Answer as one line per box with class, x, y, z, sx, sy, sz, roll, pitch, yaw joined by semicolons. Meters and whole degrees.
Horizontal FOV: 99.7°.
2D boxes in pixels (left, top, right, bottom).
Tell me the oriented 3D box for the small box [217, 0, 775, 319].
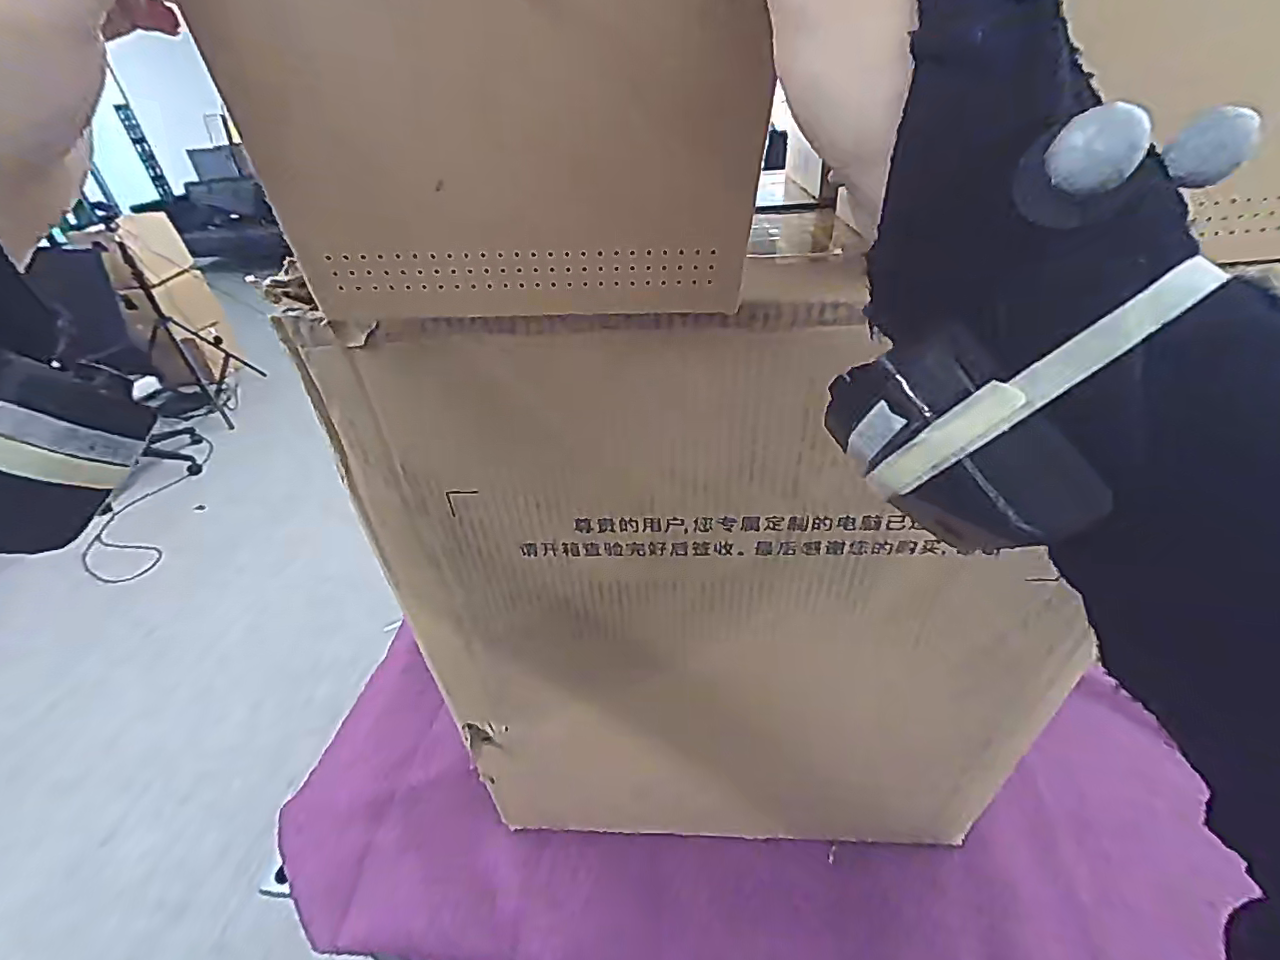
small box;-0.047;-0.180;0.223;0.179;0.176;0.168;-3;49;-4
